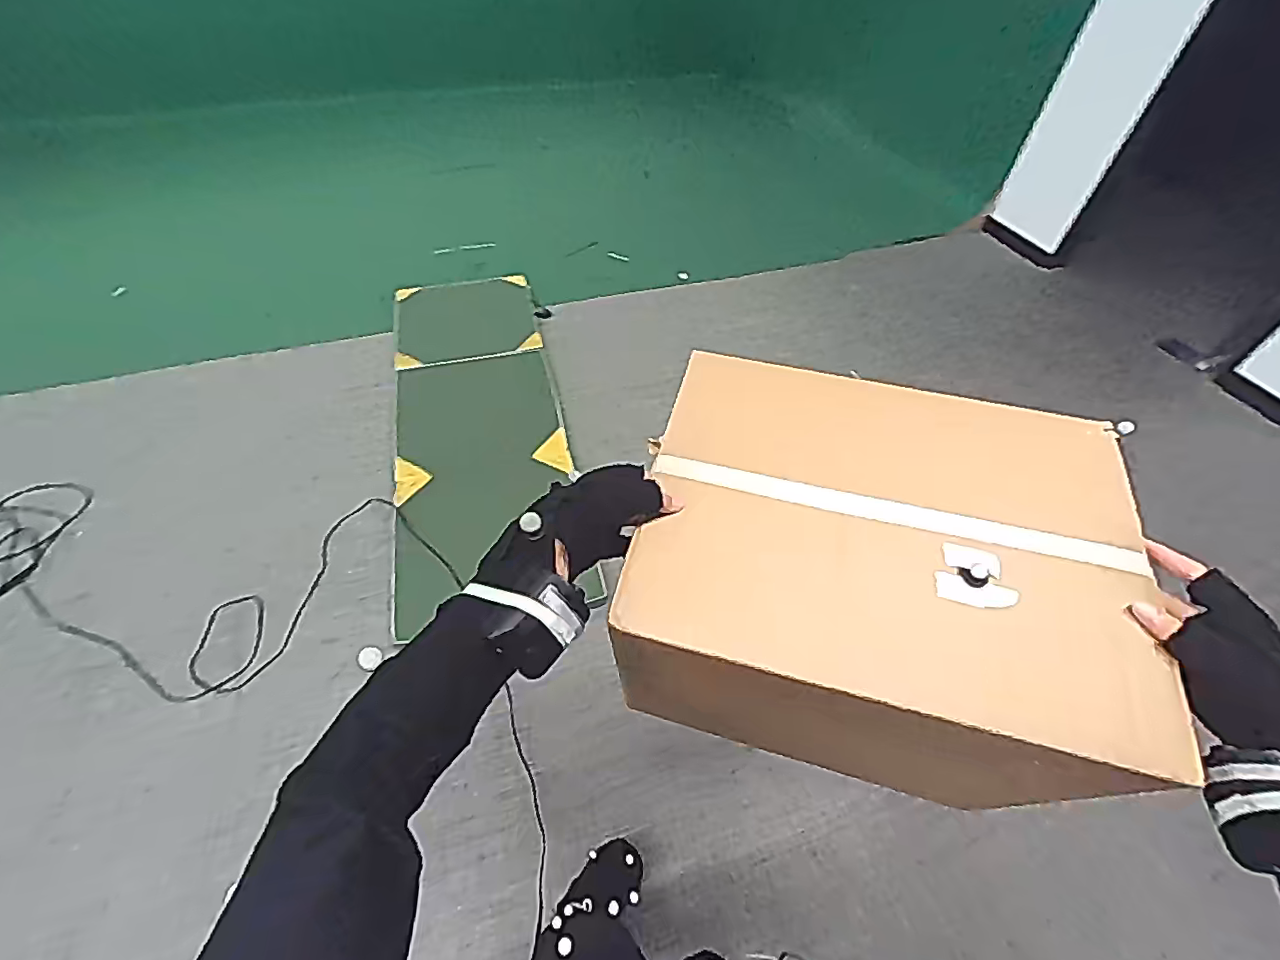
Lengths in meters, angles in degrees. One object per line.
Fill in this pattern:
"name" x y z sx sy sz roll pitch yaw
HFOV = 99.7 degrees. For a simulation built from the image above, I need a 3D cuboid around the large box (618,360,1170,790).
"large box" 0.207 0.110 0.600 0.408 0.320 0.320 12 58 8
